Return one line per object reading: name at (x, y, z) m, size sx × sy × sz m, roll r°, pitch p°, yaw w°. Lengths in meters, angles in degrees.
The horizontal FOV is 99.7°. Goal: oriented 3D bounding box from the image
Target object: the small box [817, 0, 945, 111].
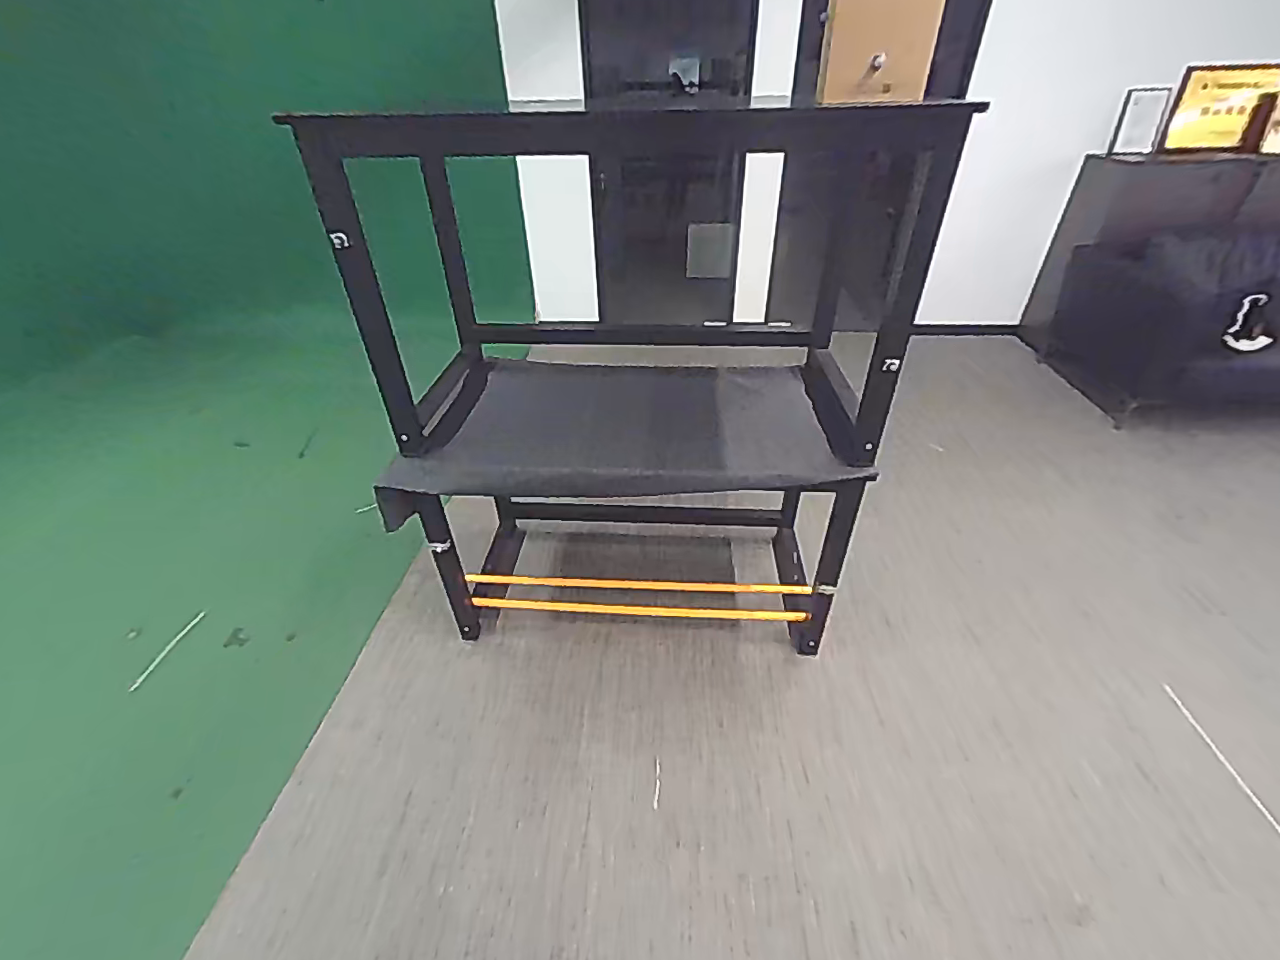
small box at (0.414, -0.759, 0.956) m, size 0.168 × 0.176 × 0.179 m, roll 5°, pitch 37°, yaw 10°
